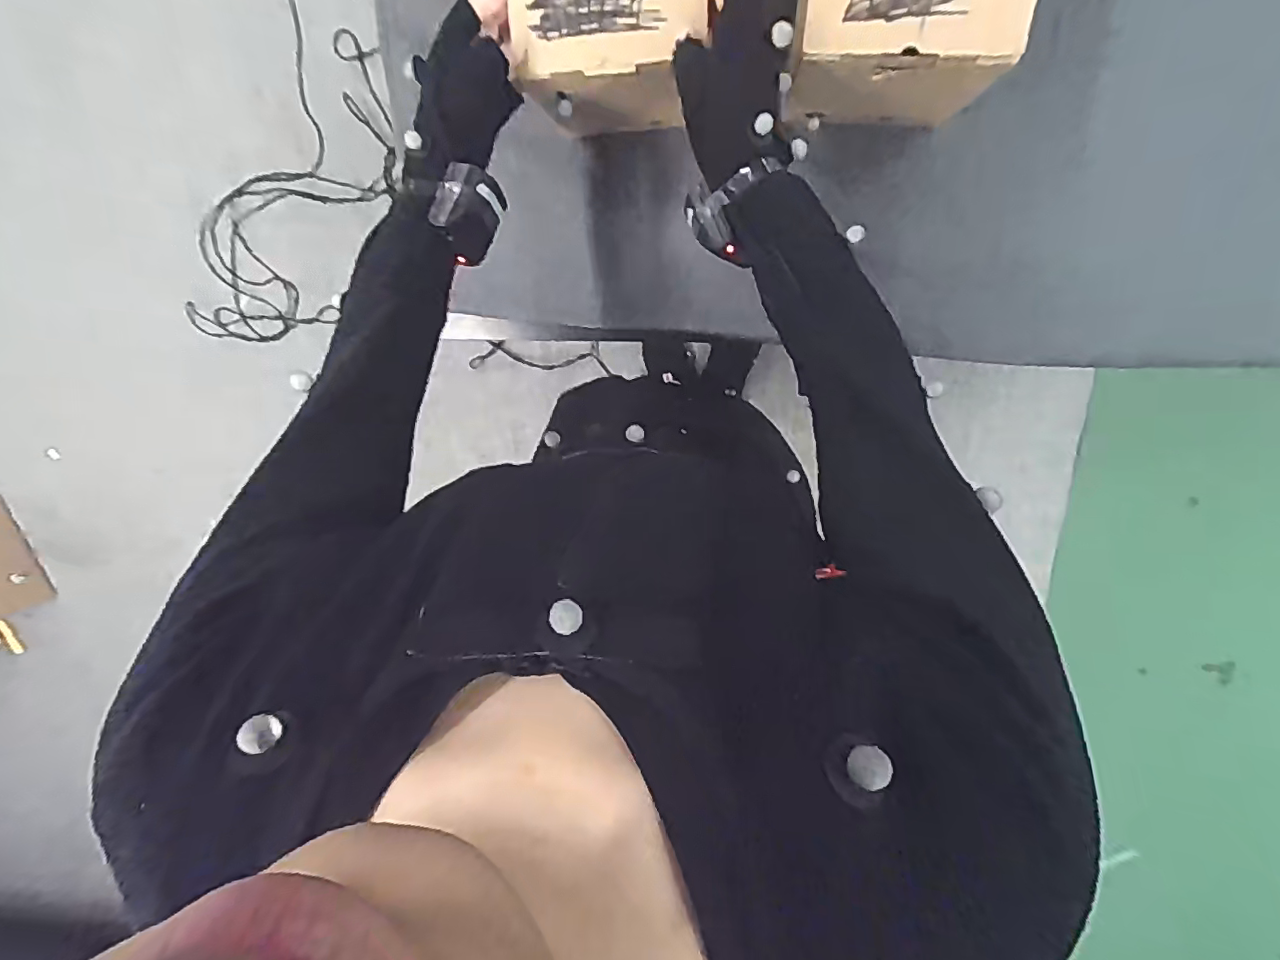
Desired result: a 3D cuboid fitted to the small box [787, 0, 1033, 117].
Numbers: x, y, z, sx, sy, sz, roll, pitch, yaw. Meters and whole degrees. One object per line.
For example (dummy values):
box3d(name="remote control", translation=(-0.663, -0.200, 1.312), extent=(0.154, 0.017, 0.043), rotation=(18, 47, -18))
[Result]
box3d(name="small box", translation=(0.226, -0.435, 0.465), extent=(0.168, 0.176, 0.179), rotation=(6, 109, 7))
